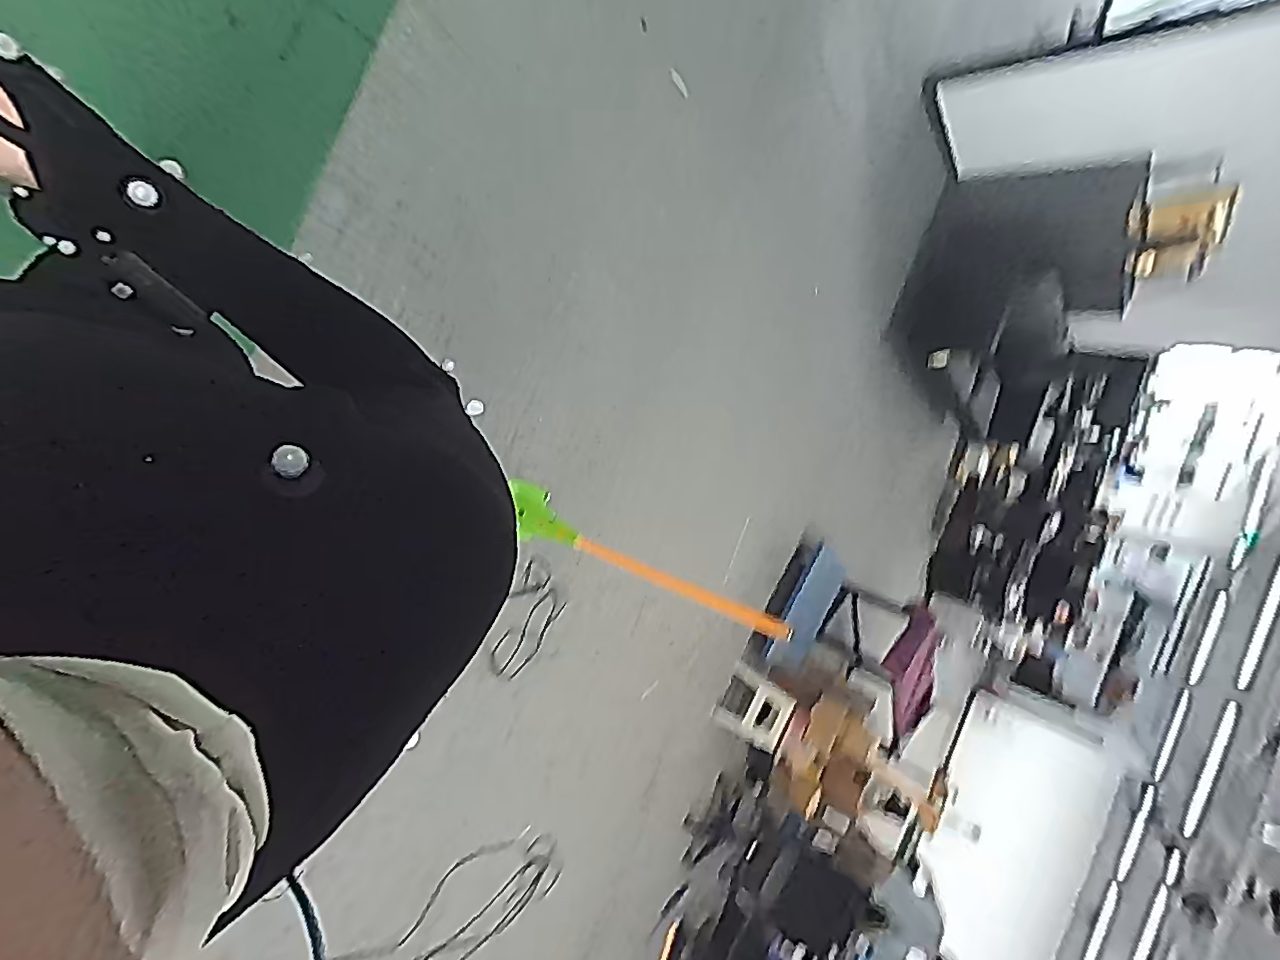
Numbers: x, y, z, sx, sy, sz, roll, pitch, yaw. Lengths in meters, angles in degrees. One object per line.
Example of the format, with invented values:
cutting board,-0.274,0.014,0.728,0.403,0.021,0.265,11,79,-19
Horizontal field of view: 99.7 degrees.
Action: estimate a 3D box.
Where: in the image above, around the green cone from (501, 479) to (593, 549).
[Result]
green cone,-0.291,0.154,1.893,0.200,0.368,0.202,24,89,-47
